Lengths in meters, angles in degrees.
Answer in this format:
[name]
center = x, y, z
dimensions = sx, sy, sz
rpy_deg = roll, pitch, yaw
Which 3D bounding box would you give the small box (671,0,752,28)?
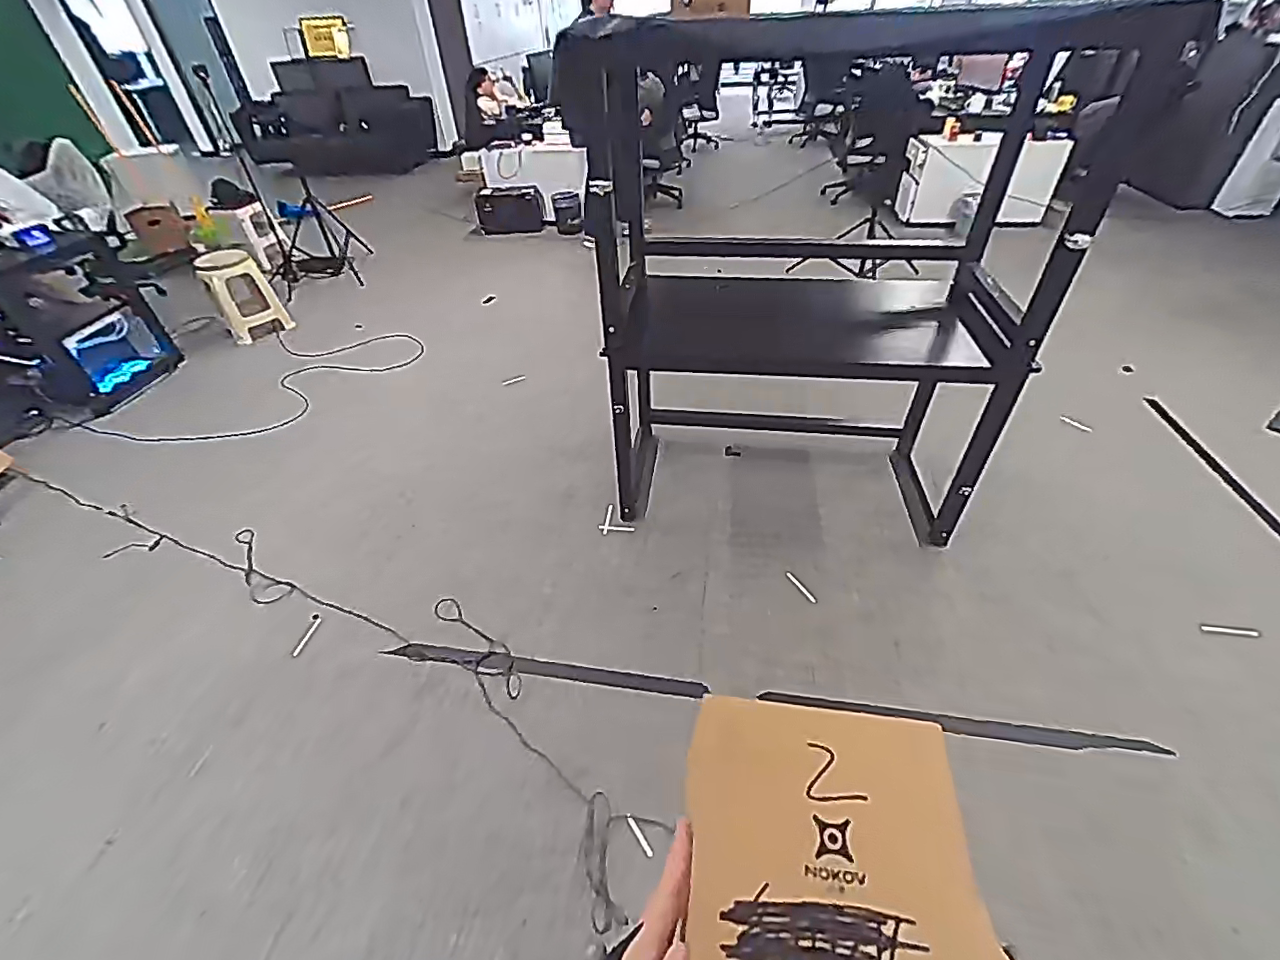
[small box]
center = 0.152, -1.055, 1.122
dimensions = 0.168, 0.176, 0.179
rpy_deg = 3, 39, 5
